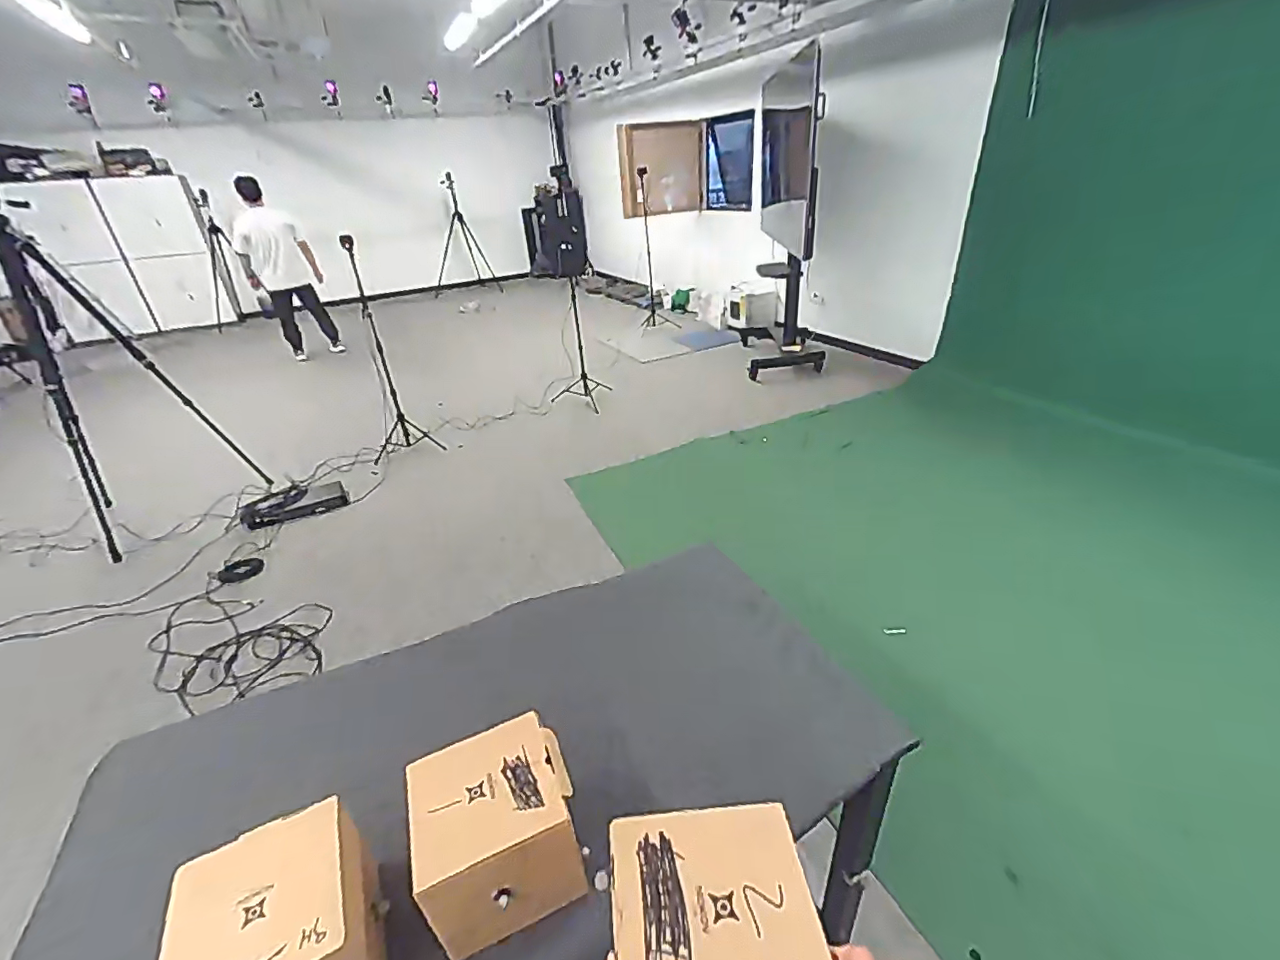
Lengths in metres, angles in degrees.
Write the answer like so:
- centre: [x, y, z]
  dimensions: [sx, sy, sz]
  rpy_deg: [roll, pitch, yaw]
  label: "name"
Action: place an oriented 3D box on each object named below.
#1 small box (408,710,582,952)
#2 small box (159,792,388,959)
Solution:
- centre: [-0.181, 0.443, 0.695]
  dimensions: [0.179, 0.176, 0.168]
  rpy_deg: [-17, 31, -17]
  label: "small box"
- centre: [-0.397, 0.510, 0.609]
  dimensions: [0.168, 0.176, 0.179]
  rpy_deg: [-18, 32, -21]
  label: "small box"
